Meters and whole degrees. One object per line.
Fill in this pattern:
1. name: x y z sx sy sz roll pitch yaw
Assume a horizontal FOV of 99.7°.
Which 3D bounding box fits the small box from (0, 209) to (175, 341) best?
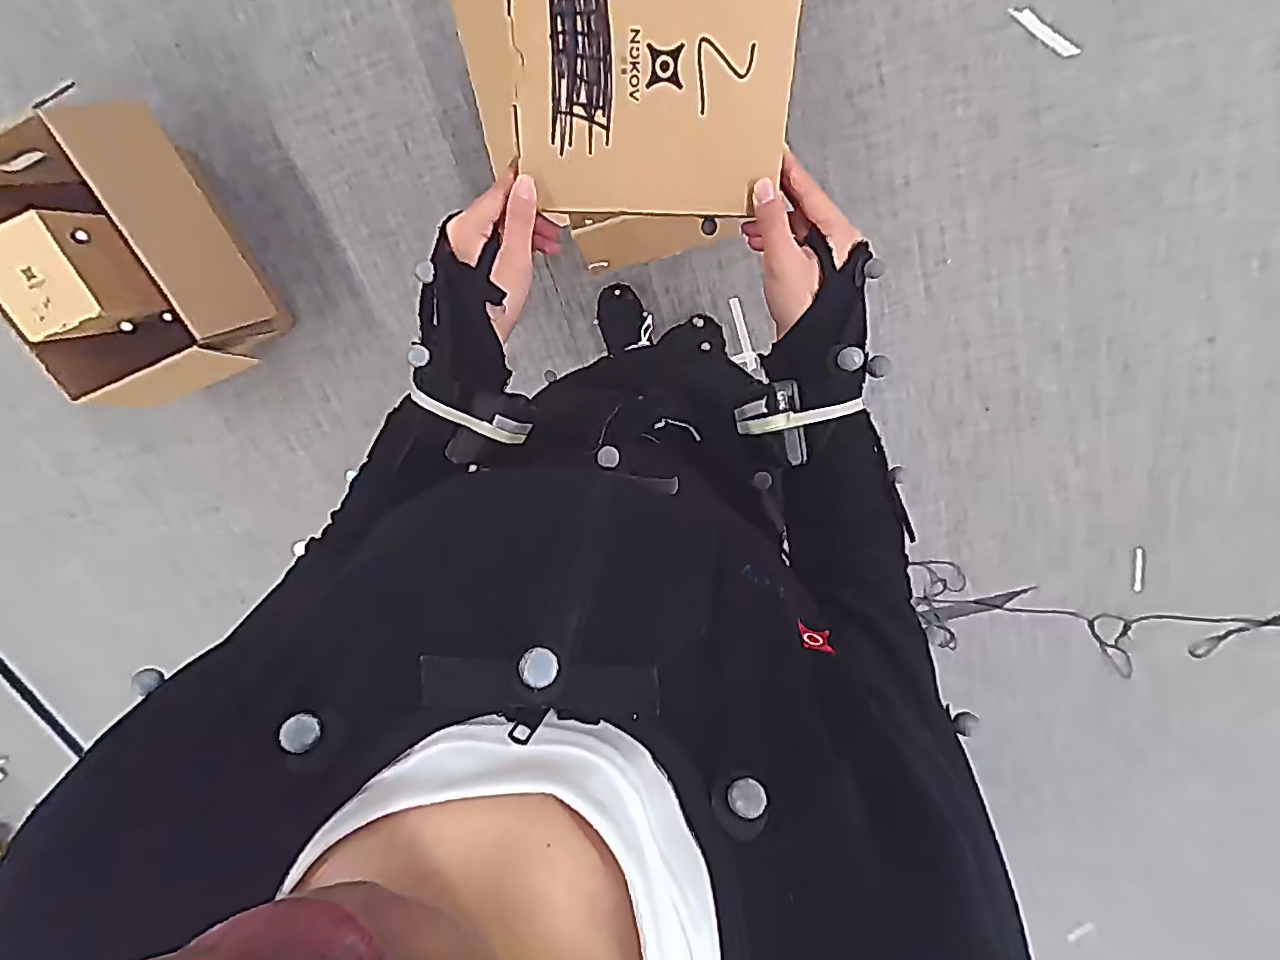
1. small box: -1.039 -0.375 1.001 0.168 0.176 0.179 -17 110 8
